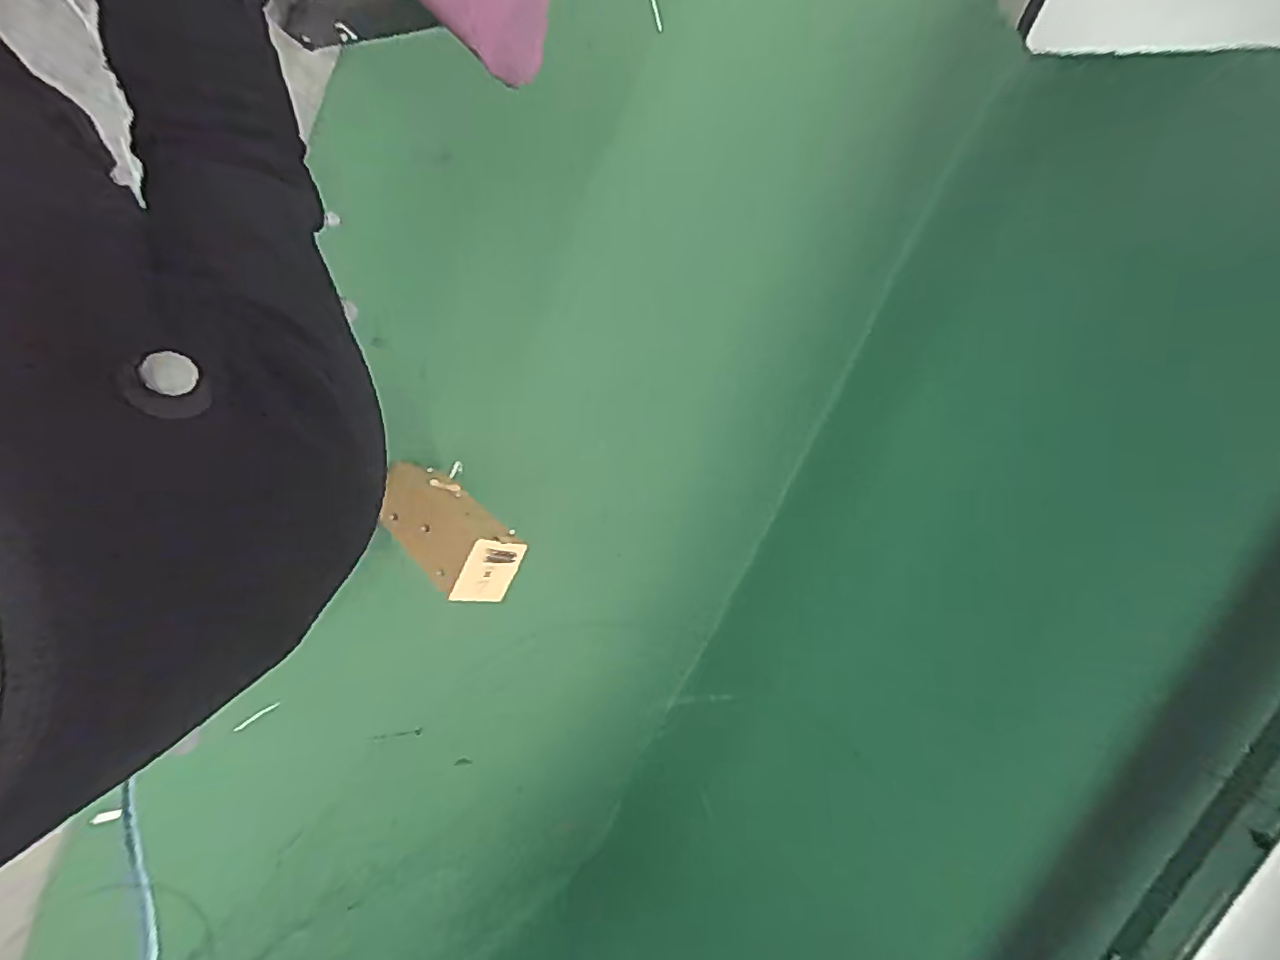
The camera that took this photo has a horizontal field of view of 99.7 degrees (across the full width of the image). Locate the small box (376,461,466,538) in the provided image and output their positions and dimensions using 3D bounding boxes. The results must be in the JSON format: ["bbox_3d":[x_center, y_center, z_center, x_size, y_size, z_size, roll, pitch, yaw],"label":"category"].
[{"bbox_3d":[-0.661,0.066,1.621,0.168,0.176,0.179,18,101,-54],"label":"small box"}]

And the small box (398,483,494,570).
[{"bbox_3d":[-0.552,0.132,1.520,0.168,0.176,0.179,19,99,-53],"label":"small box"}]
